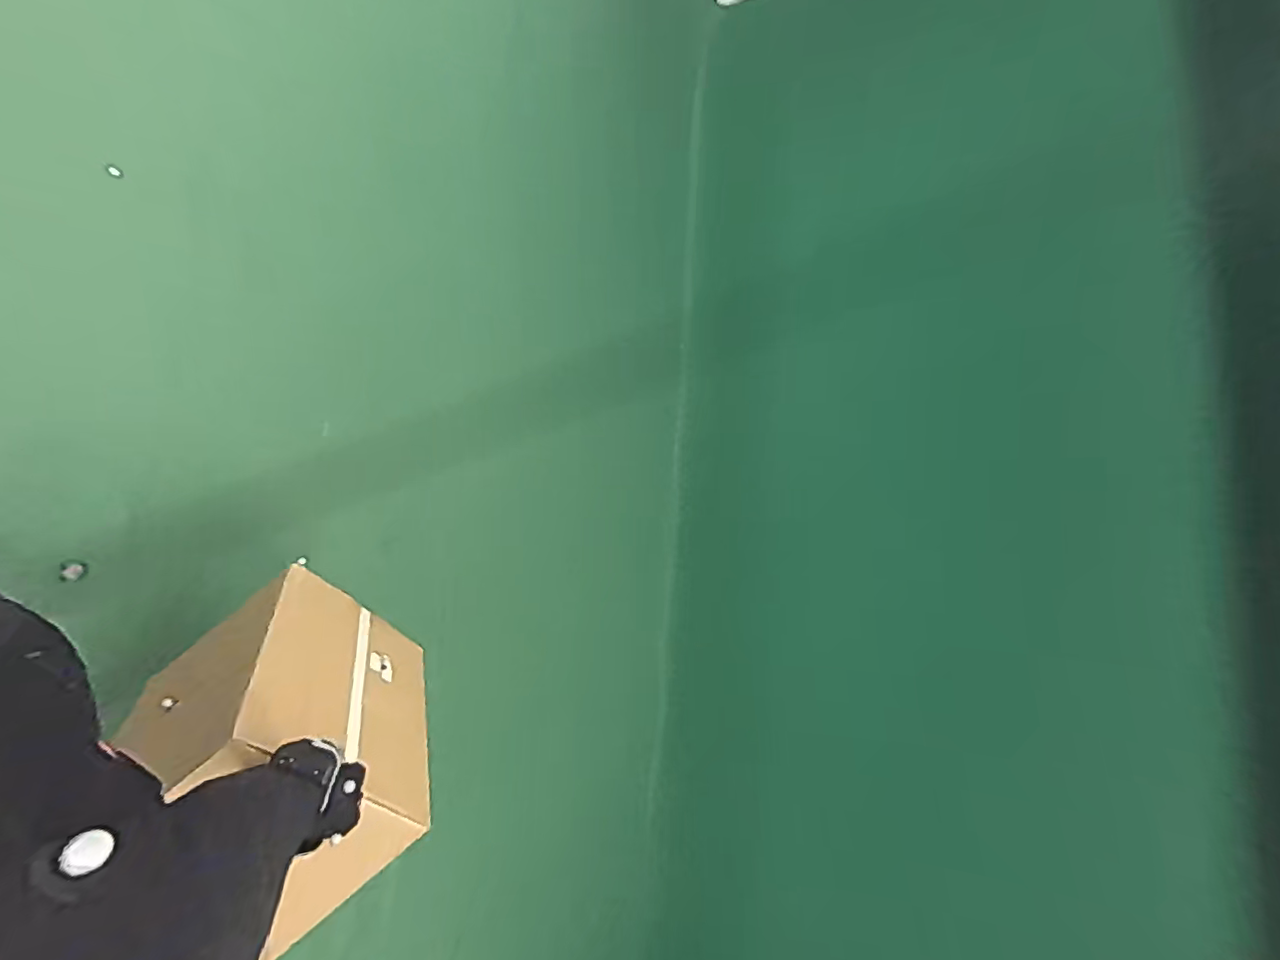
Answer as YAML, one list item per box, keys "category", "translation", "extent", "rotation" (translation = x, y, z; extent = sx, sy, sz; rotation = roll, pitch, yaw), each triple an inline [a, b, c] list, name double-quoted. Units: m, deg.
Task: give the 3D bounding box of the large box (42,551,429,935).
- category: "large box"
  translation: [-0.581, 0.397, 0.870]
  extent: [0.320, 0.408, 0.320]
  rotation: [-40, 123, -3]
